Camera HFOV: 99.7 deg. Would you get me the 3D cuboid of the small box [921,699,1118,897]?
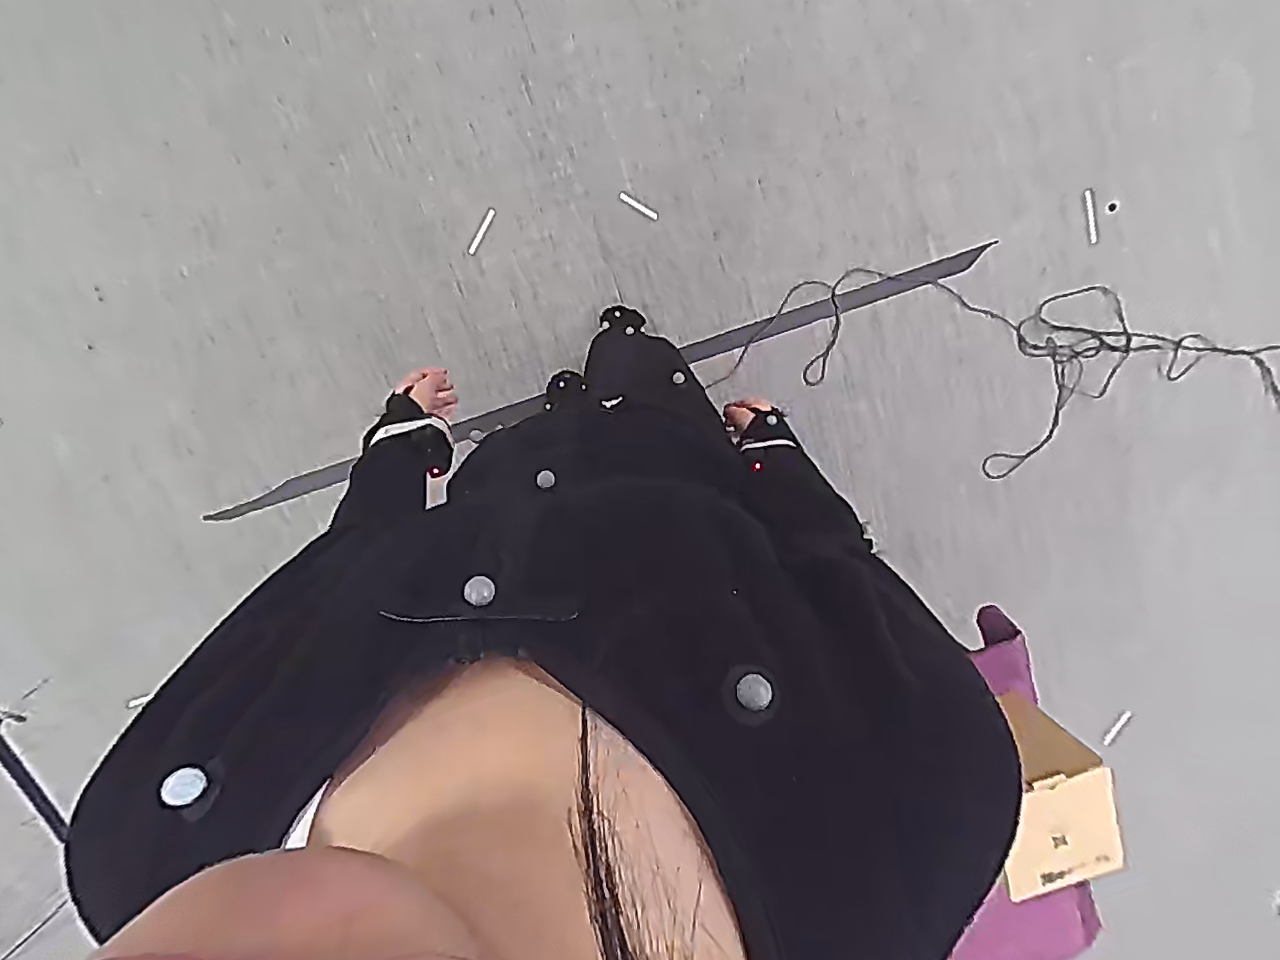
[{"bbox_3d":[0.551,0.455,0.806,0.168,0.176,0.179,-18,102,0],"label":"small box"}]
